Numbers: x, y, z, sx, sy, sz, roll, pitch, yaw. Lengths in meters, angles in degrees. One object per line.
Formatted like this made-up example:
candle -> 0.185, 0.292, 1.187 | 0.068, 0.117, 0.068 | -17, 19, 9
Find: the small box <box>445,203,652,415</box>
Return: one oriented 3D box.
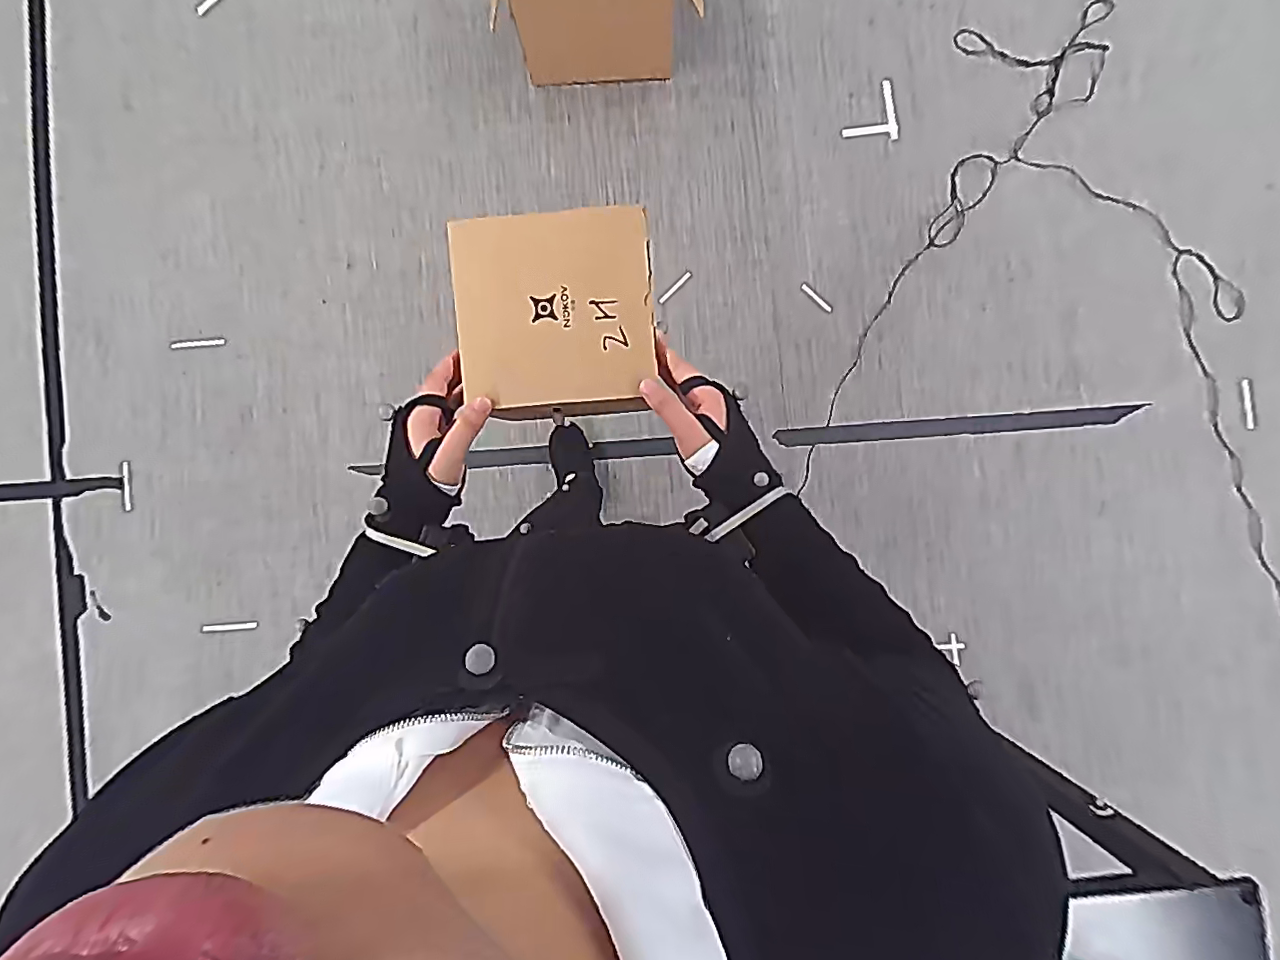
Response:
small box -> -0.079, -0.158, 0.556 | 0.179, 0.176, 0.168 | -4, 93, 0
